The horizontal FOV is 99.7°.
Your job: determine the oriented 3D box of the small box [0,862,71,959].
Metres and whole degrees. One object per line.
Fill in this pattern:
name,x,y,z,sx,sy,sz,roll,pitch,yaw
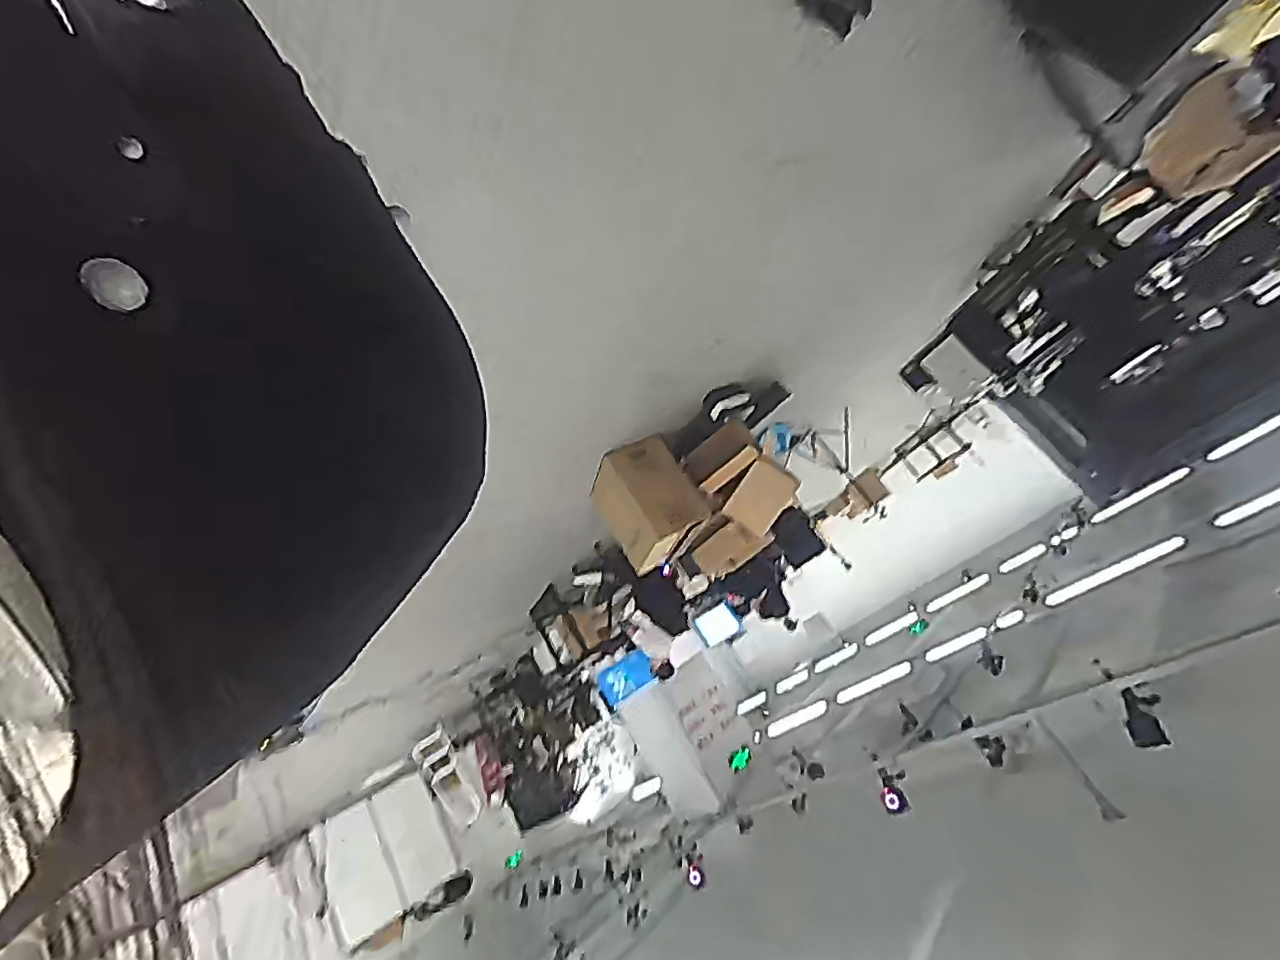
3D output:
small box,-1.787,1.244,1.549,0.179,0.176,0.168,-16,153,-40
